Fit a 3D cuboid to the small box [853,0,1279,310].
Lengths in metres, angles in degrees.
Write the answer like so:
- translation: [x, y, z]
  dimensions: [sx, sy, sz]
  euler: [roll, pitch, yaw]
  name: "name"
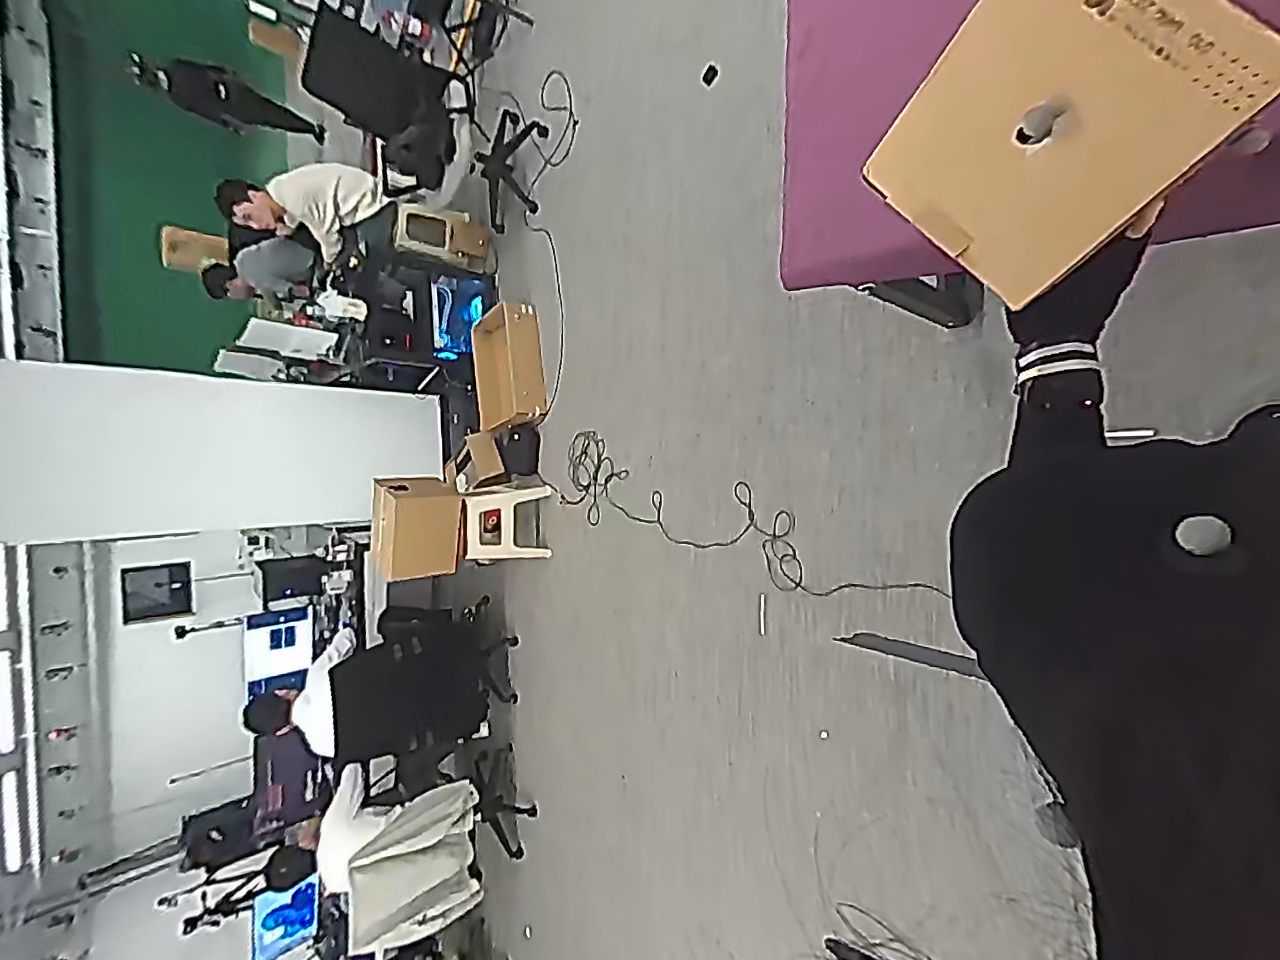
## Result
- translation: [0.300, -0.257, 0.384]
  dimensions: [0.168, 0.179, 0.176]
  euler: [51, 147, 13]
  name: "small box"
